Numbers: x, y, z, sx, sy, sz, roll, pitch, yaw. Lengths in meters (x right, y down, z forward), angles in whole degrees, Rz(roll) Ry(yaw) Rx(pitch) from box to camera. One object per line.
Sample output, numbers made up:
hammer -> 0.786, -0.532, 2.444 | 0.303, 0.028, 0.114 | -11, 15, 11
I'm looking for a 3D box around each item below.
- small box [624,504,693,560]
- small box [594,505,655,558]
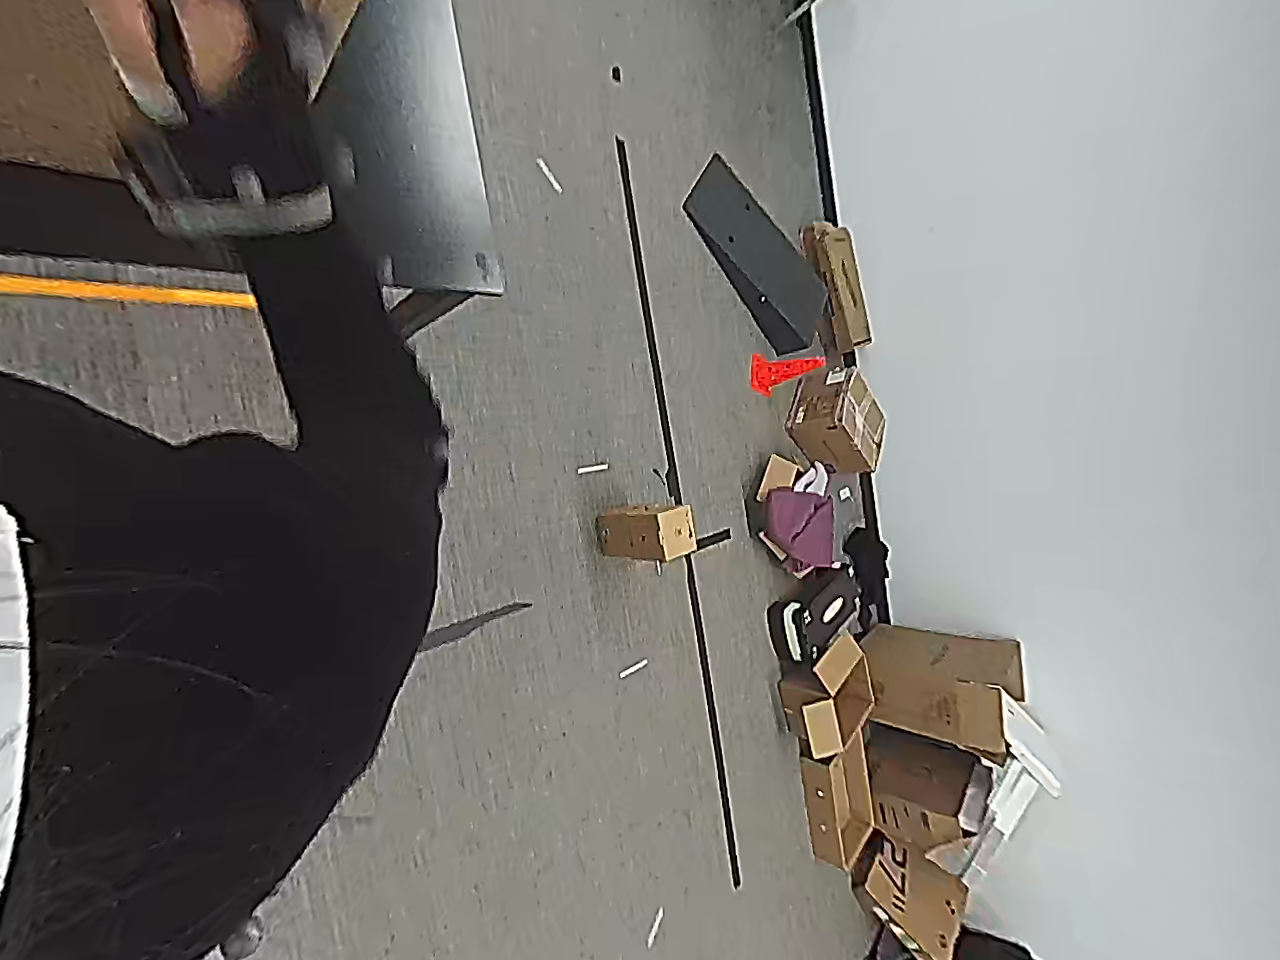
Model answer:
small box -> 0.058, 0.183, 1.908 | 0.179, 0.176, 0.168 | -12, 94, -45
small box -> -0.048, 0.189, 2.035 | 0.179, 0.176, 0.168 | -14, 95, -44
